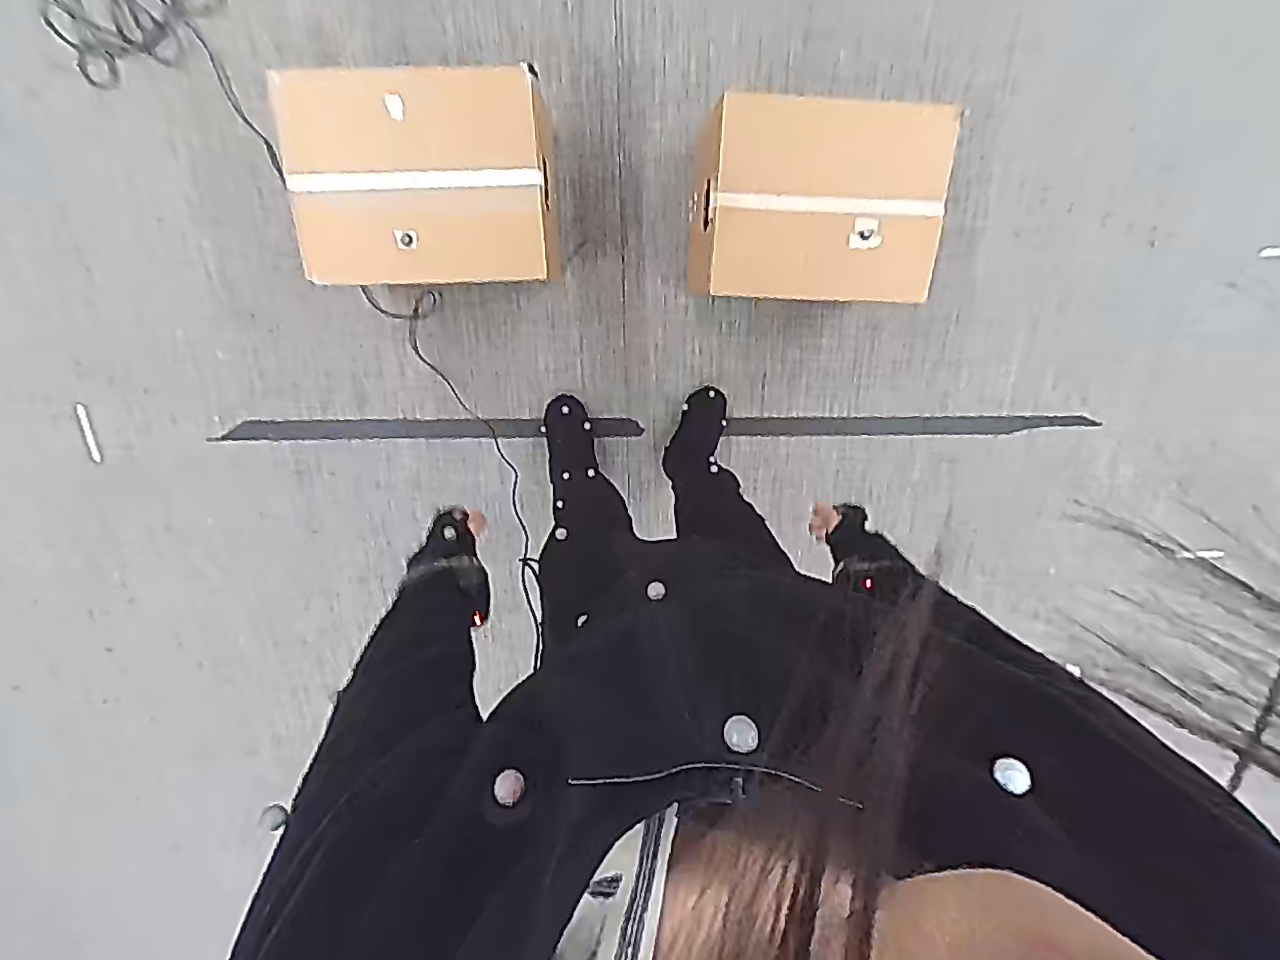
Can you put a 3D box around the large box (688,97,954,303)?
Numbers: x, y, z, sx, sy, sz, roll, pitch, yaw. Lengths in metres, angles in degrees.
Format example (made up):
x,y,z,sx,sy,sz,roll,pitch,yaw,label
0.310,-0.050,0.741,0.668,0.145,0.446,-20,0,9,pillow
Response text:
x,y,z,sx,sy,sz,roll,pitch,yaw,label
0.319,-0.524,1.085,0.408,0.320,0.320,1,109,-5,large box
